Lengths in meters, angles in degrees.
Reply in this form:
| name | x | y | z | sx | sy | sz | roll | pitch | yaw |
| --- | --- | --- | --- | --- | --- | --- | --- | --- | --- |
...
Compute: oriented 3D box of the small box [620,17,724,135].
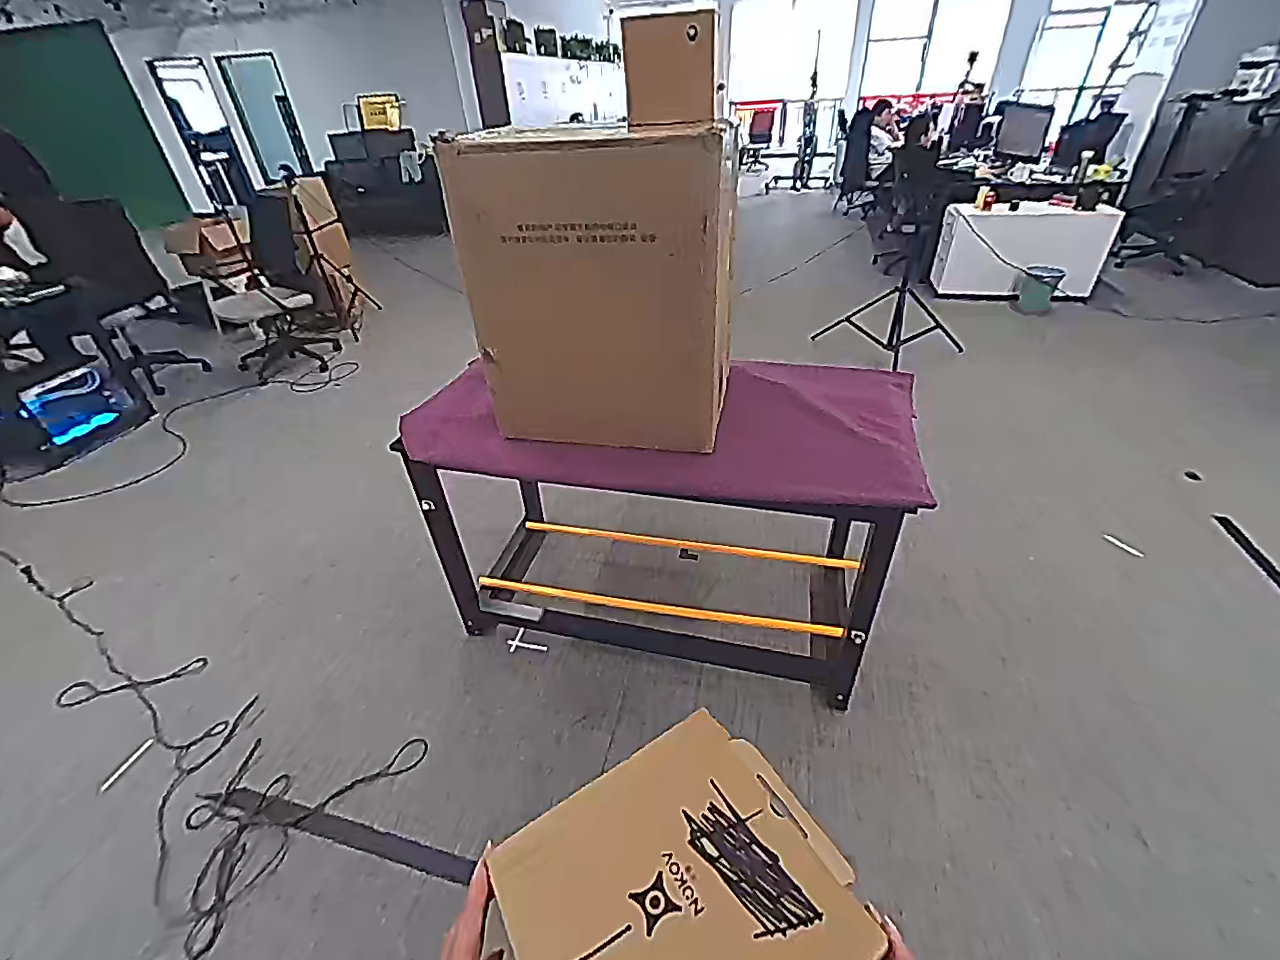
| name | x | y | z | sx | sy | sz | roll | pitch | yaw |
| --- | --- | --- | --- | --- | --- | --- | --- | --- | --- |
| small box | 0.069 | -0.788 | 1.068 | 0.179 | 0.176 | 0.168 | 5 | 36 | 12 |
